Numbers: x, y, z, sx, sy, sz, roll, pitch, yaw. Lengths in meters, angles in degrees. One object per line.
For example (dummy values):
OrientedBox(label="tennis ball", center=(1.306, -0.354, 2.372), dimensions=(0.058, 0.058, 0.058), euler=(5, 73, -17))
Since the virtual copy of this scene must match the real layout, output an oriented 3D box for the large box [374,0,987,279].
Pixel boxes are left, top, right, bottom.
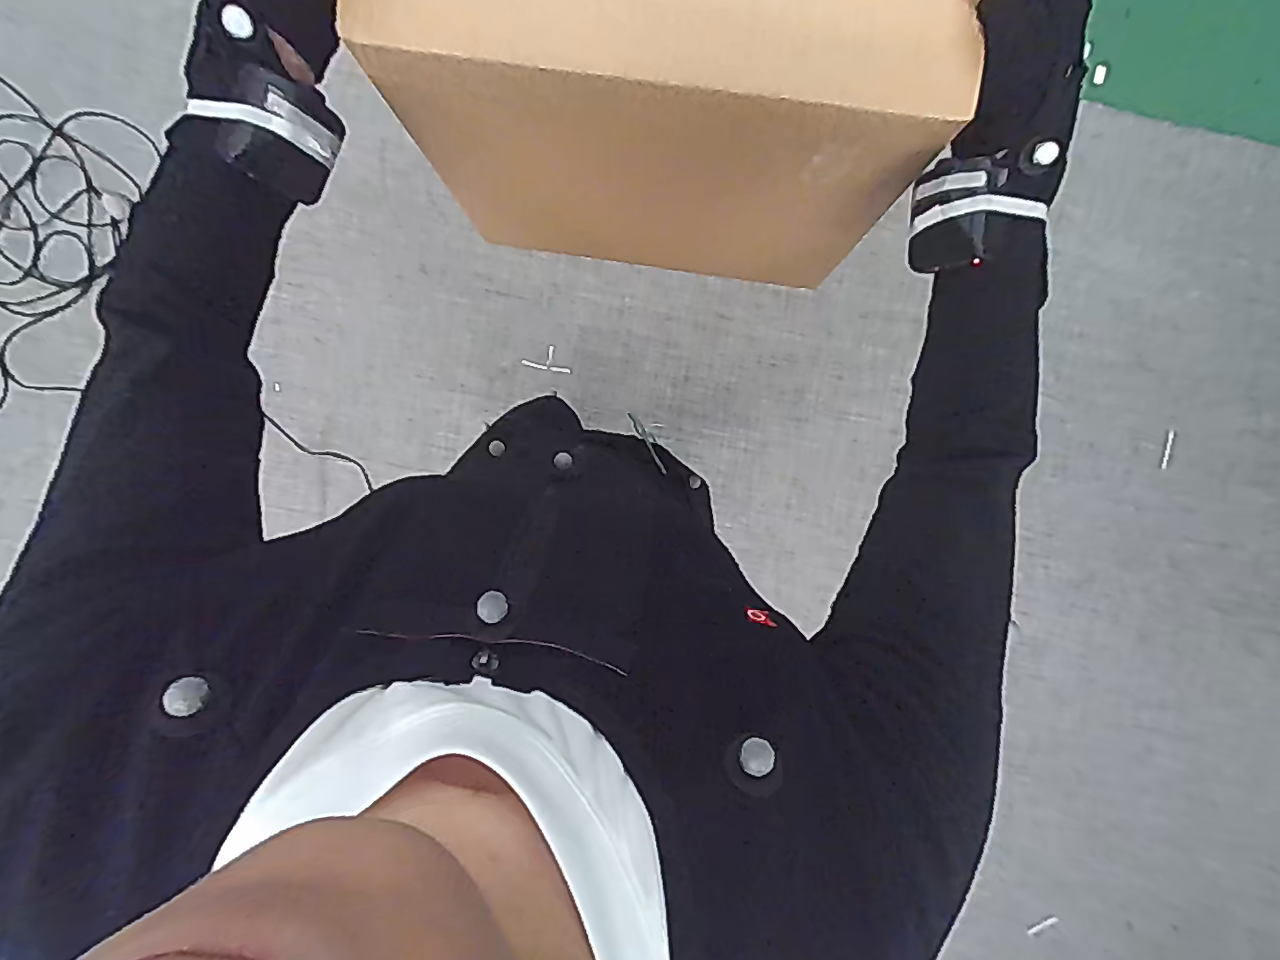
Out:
OrientedBox(label="large box", center=(0.037, -0.410, 0.499), dimensions=(0.408, 0.320, 0.320), euler=(8, 91, -1))
